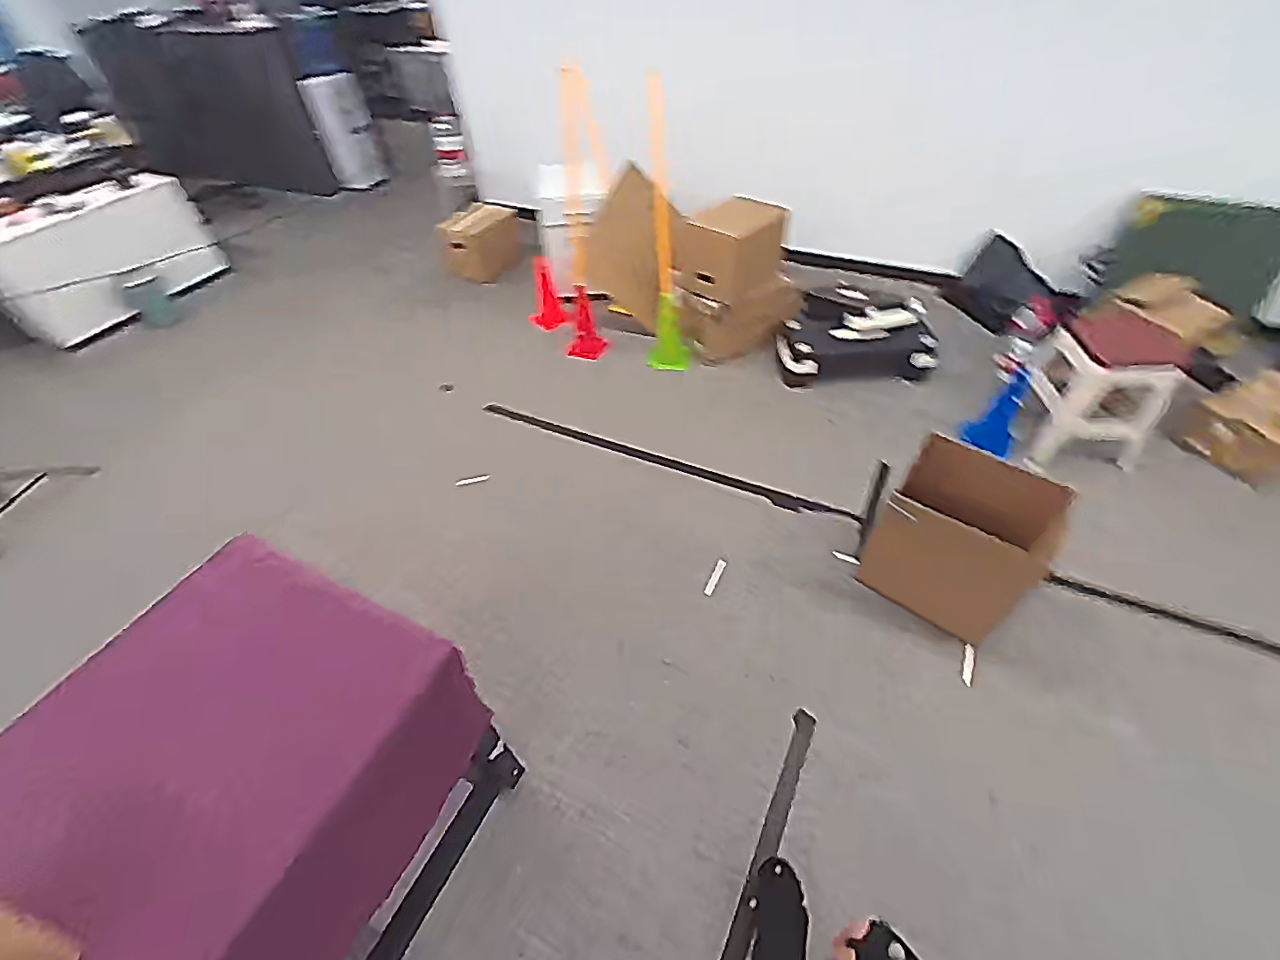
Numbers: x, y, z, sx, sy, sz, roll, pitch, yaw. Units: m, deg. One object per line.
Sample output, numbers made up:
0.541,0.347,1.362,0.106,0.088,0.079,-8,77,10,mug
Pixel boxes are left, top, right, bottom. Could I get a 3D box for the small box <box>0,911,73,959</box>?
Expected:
-0.831,0.604,0.612,0.179,0.176,0.168,10,48,14,small box
